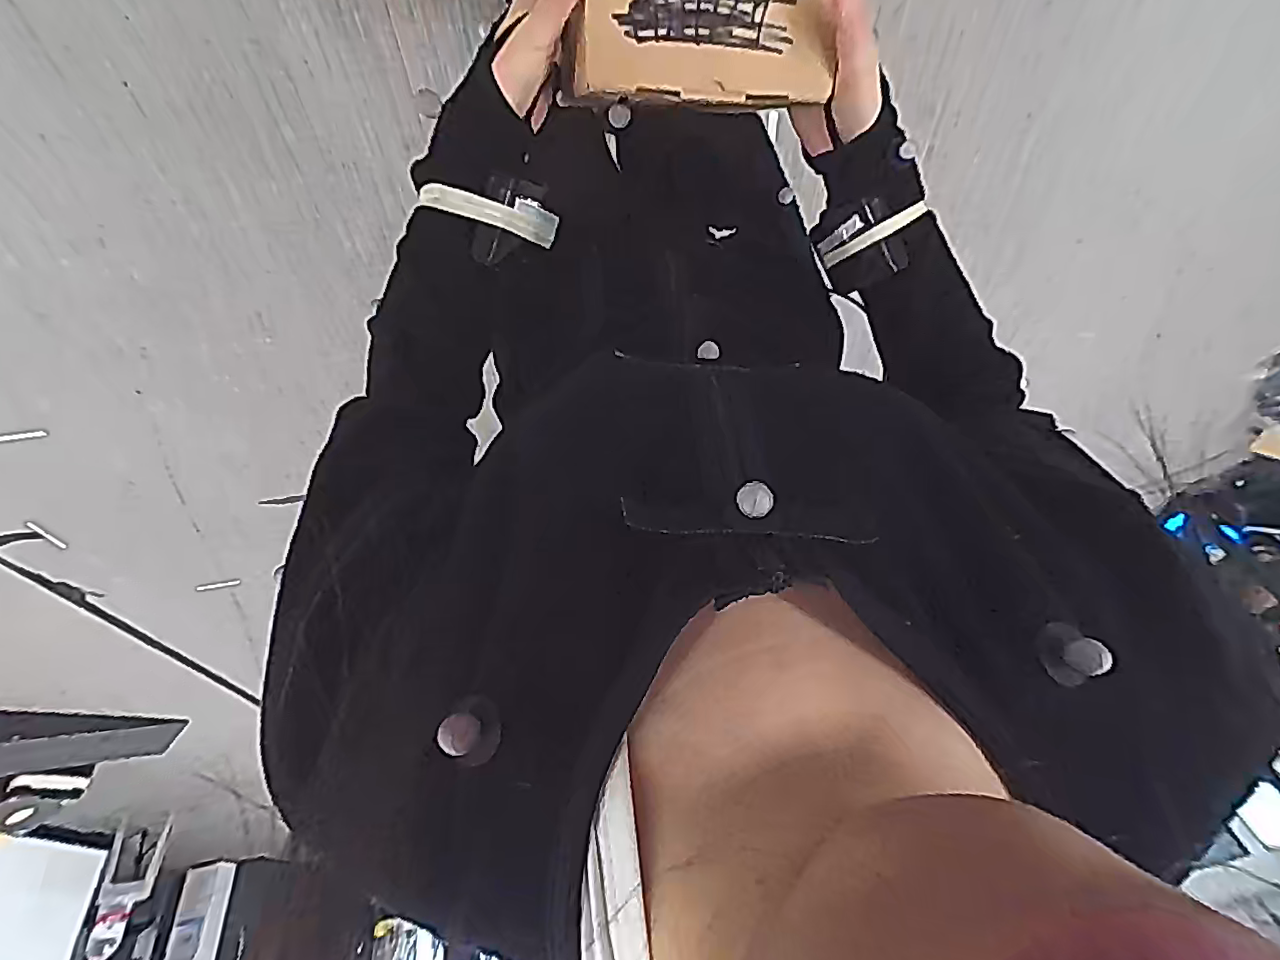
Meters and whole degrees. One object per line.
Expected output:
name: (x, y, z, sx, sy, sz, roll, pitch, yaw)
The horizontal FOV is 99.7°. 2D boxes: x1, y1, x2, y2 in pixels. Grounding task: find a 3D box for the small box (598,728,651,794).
small box: (-0.061, 1.037, 1.998, 0.168, 0.176, 0.179, -9, 141, -9)
